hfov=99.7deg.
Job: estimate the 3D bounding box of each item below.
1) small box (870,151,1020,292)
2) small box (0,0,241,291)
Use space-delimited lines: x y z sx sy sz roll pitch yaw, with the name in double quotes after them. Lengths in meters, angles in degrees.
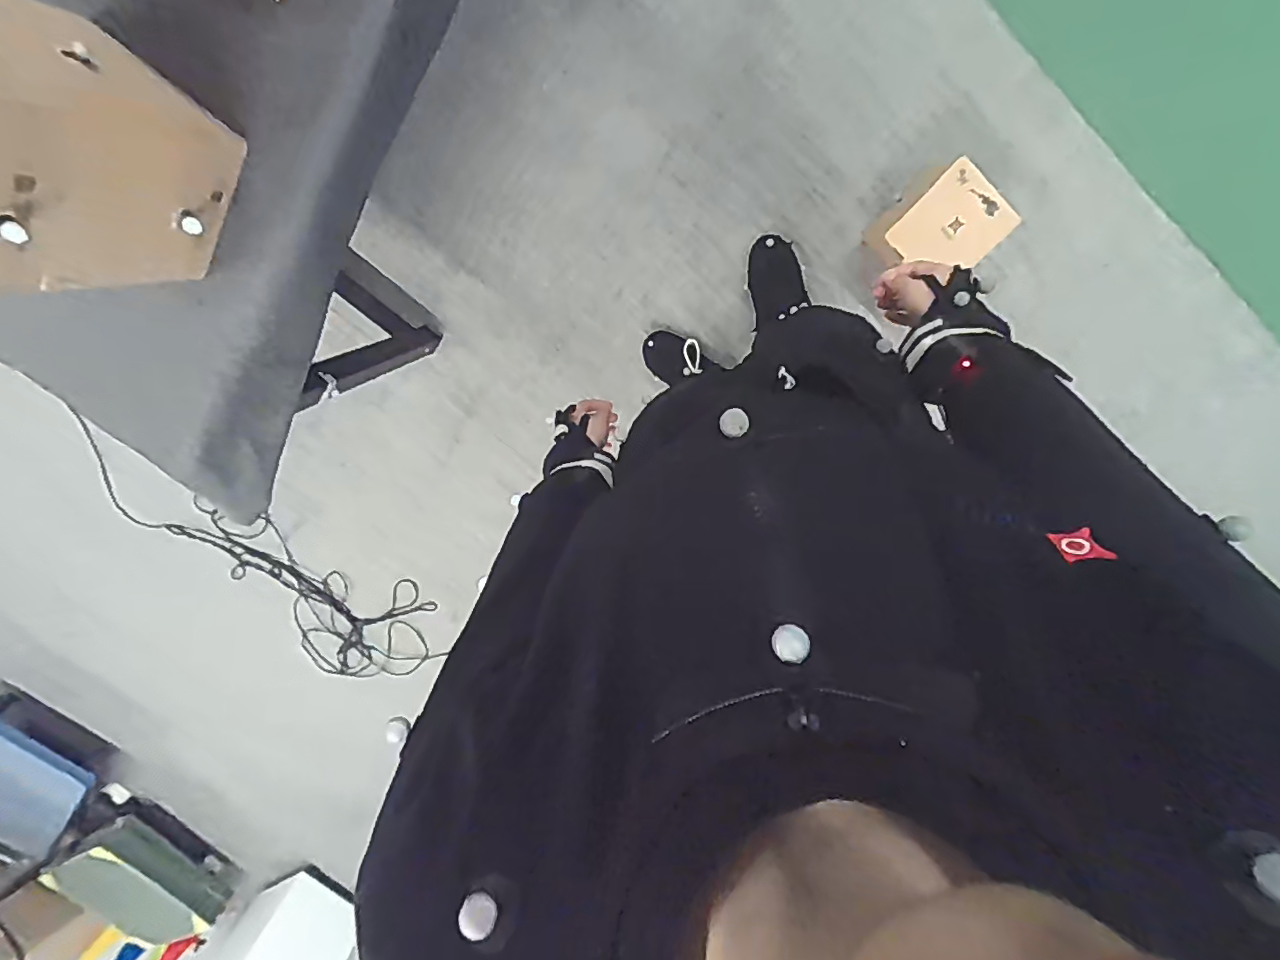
0.572 -0.495 1.049 0.168 0.176 0.179 40 115 -10 "small box"
-0.521 -0.296 0.485 0.179 0.176 0.168 37 114 -10 "small box"
